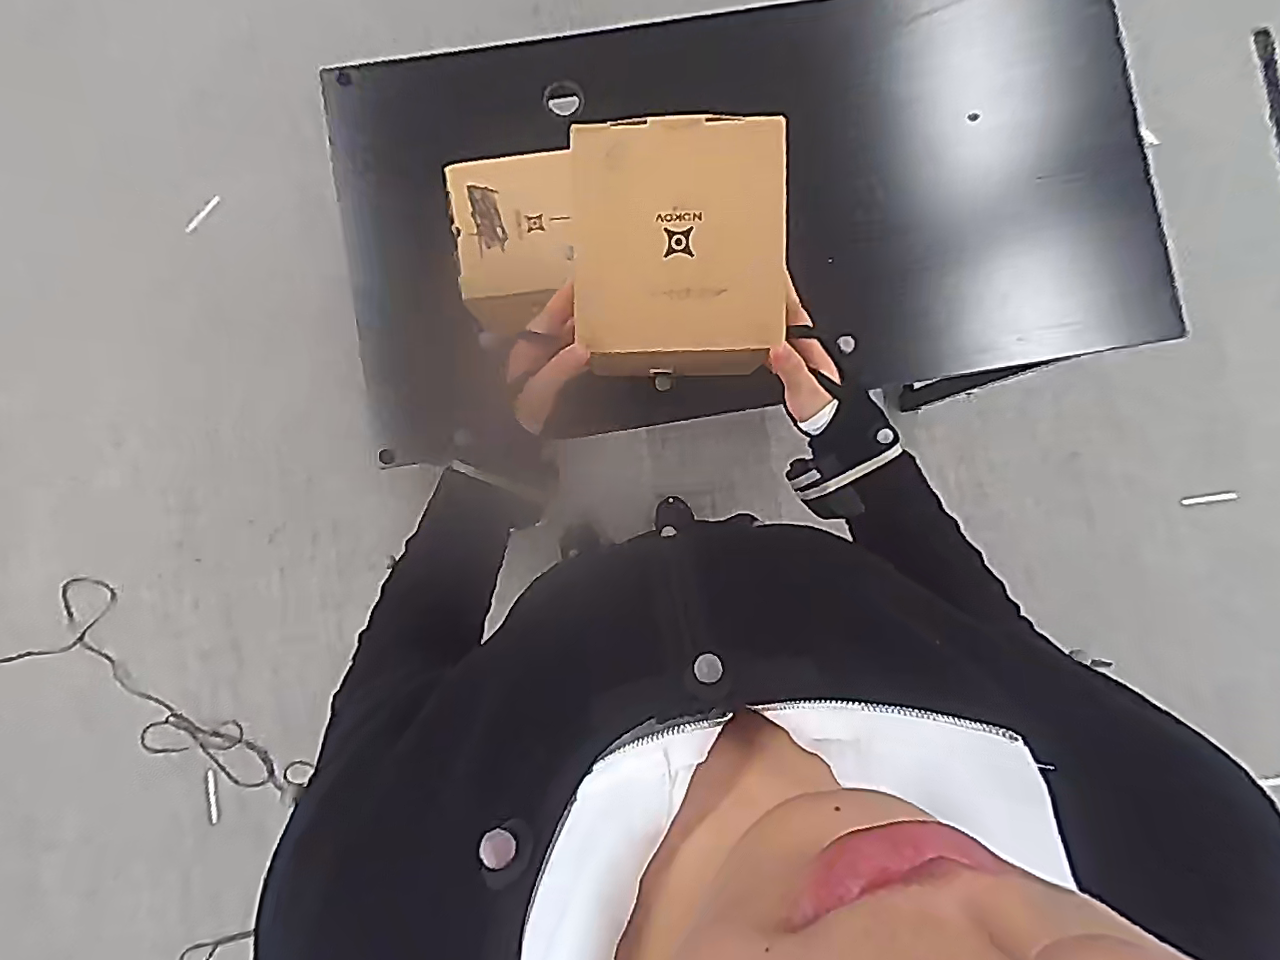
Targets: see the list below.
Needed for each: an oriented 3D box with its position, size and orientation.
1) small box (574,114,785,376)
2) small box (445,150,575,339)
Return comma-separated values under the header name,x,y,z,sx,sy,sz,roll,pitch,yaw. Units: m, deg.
name,x,y,z,sx,sy,sz,roll,pitch,yaw
small box,0.032,-0.196,0.497,0.168,0.176,0.179,-1,94,2
small box,-0.136,-0.297,0.717,0.179,0.176,0.168,-8,87,-2
